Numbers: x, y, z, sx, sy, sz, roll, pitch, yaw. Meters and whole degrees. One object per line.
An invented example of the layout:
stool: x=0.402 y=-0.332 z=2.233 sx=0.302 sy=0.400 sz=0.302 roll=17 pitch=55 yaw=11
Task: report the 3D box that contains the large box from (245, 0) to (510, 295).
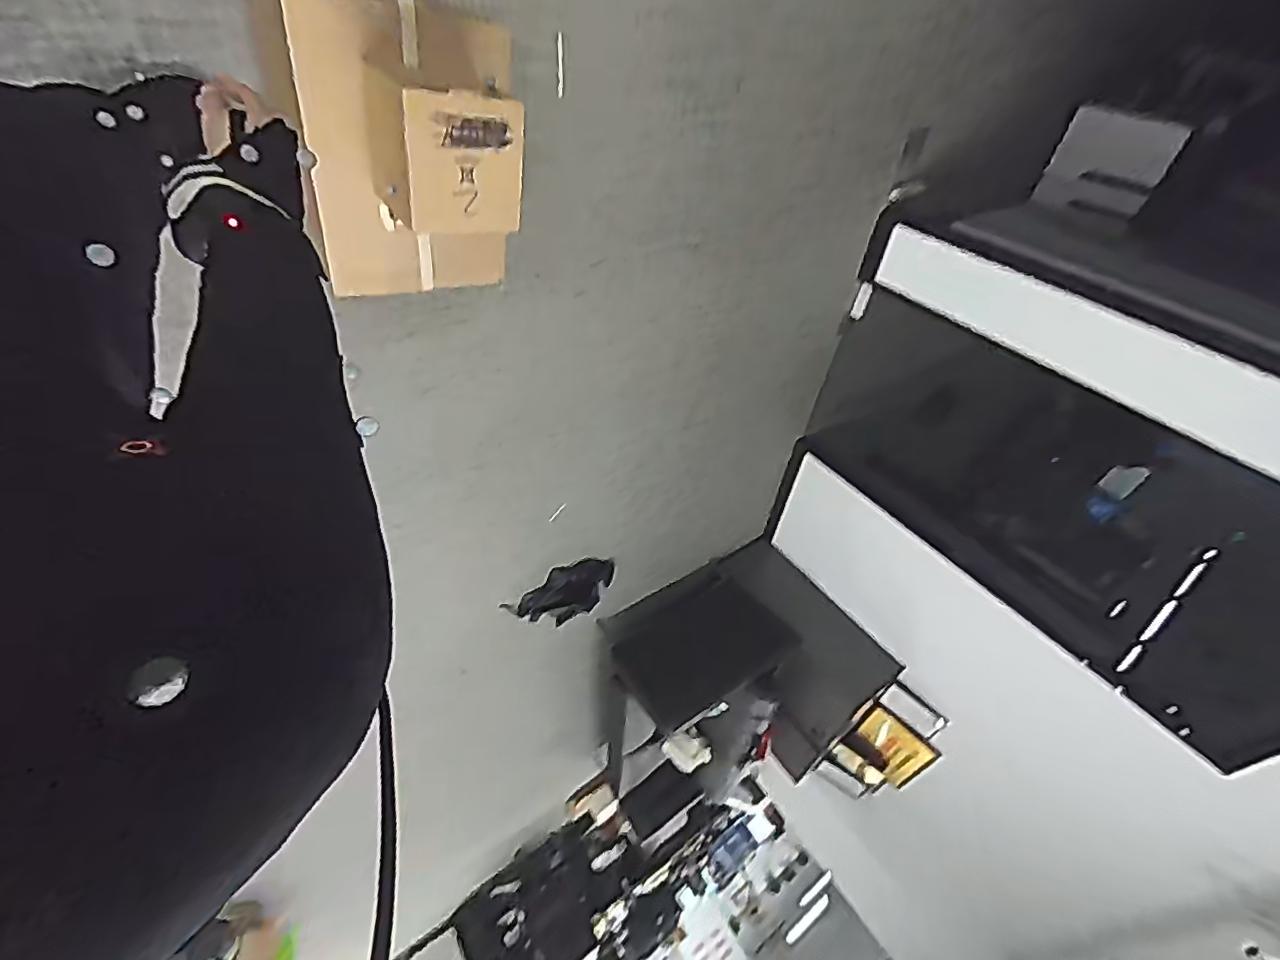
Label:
large box: x=-0.441 y=-0.594 z=0.948 sx=0.320 sy=0.320 sz=0.408 roll=-18 pitch=140 yaw=-32
